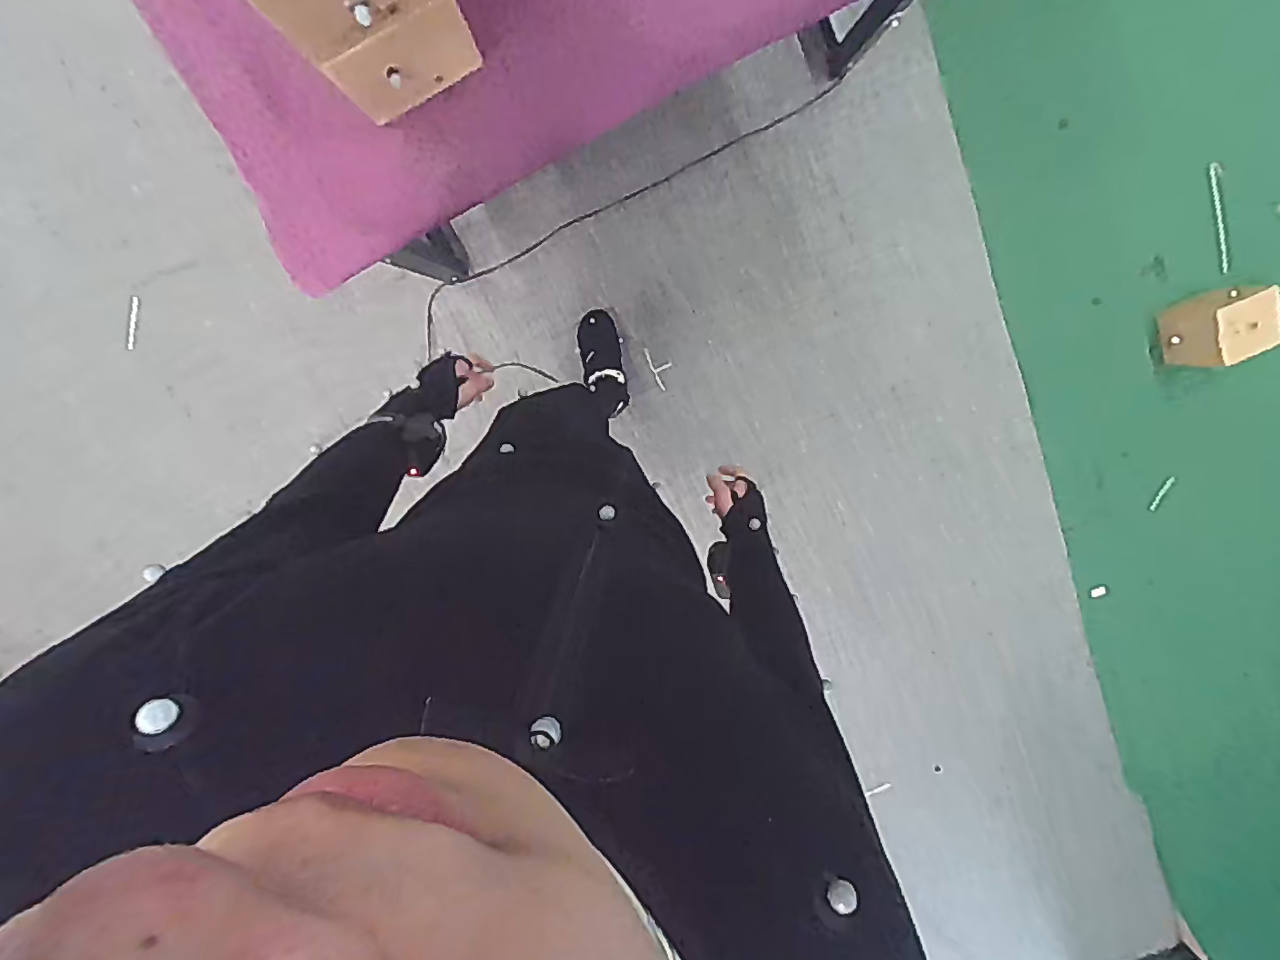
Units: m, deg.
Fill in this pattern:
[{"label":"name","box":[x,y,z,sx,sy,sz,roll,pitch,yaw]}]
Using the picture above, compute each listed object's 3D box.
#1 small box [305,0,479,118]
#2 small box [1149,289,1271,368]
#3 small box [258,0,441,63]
[{"label":"small box","box":[-0.313,-0.563,0.630,0.168,0.176,0.179,-28,104,3]},{"label":"small box","box":[1.639,-0.437,1.561,0.179,0.176,0.168,-24,105,2]},{"label":"small box","box":[-0.301,-0.525,0.471,0.168,0.176,0.179,-28,105,3]}]
